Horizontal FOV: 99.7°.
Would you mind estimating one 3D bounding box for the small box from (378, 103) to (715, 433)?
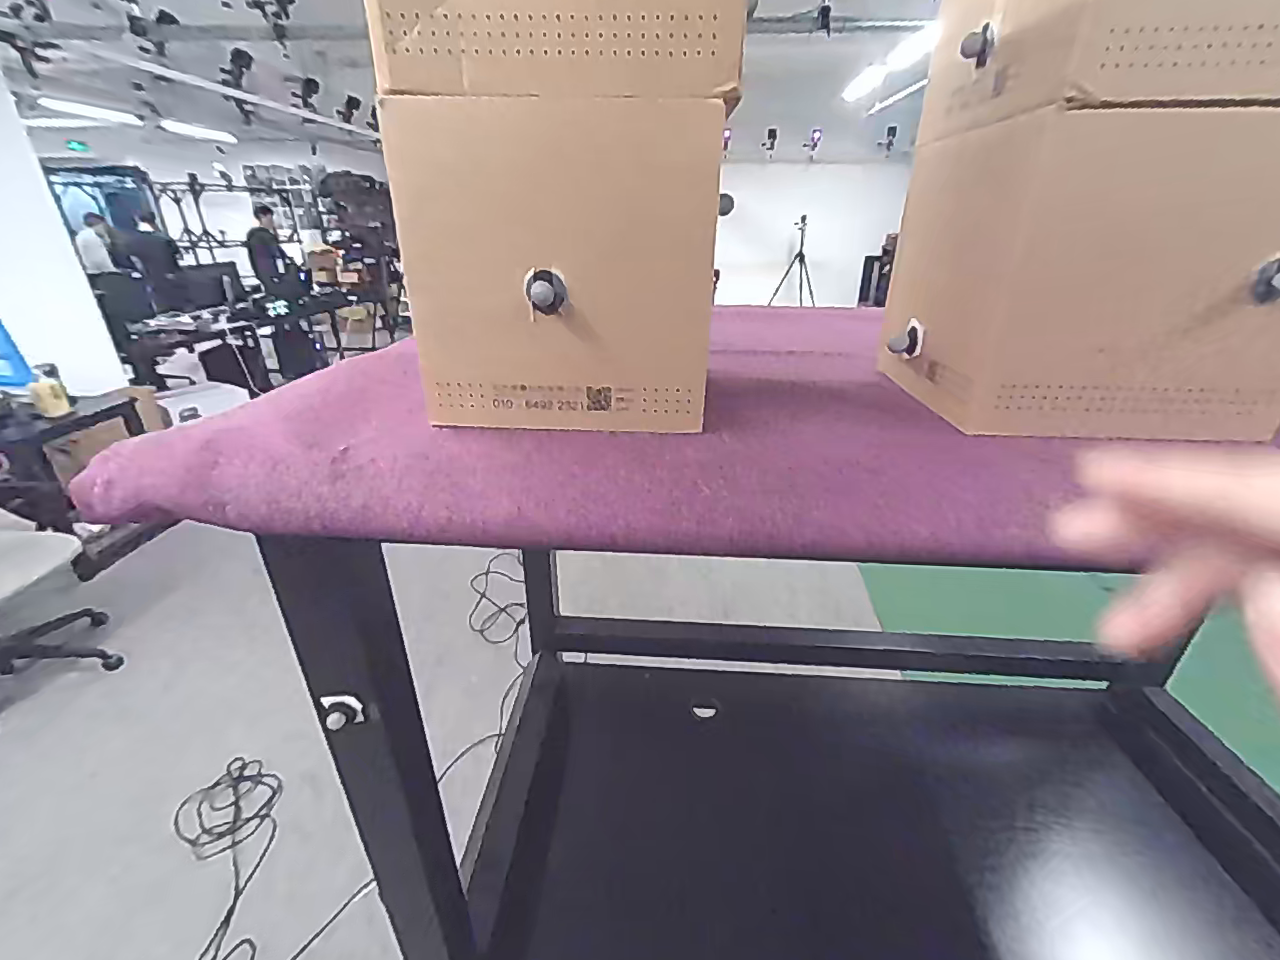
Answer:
[{"bbox_3d":[-0.041,-0.138,0.363,0.168,0.176,0.179,3,26,2],"label":"small box"}]

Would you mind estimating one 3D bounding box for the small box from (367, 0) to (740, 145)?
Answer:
[{"bbox_3d":[-0.038,-0.284,0.291,0.179,0.176,0.168,2,27,1],"label":"small box"}]

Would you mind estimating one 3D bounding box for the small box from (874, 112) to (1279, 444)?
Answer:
[{"bbox_3d":[0.280,-0.128,0.356,0.179,0.176,0.168,1,25,2],"label":"small box"}]
